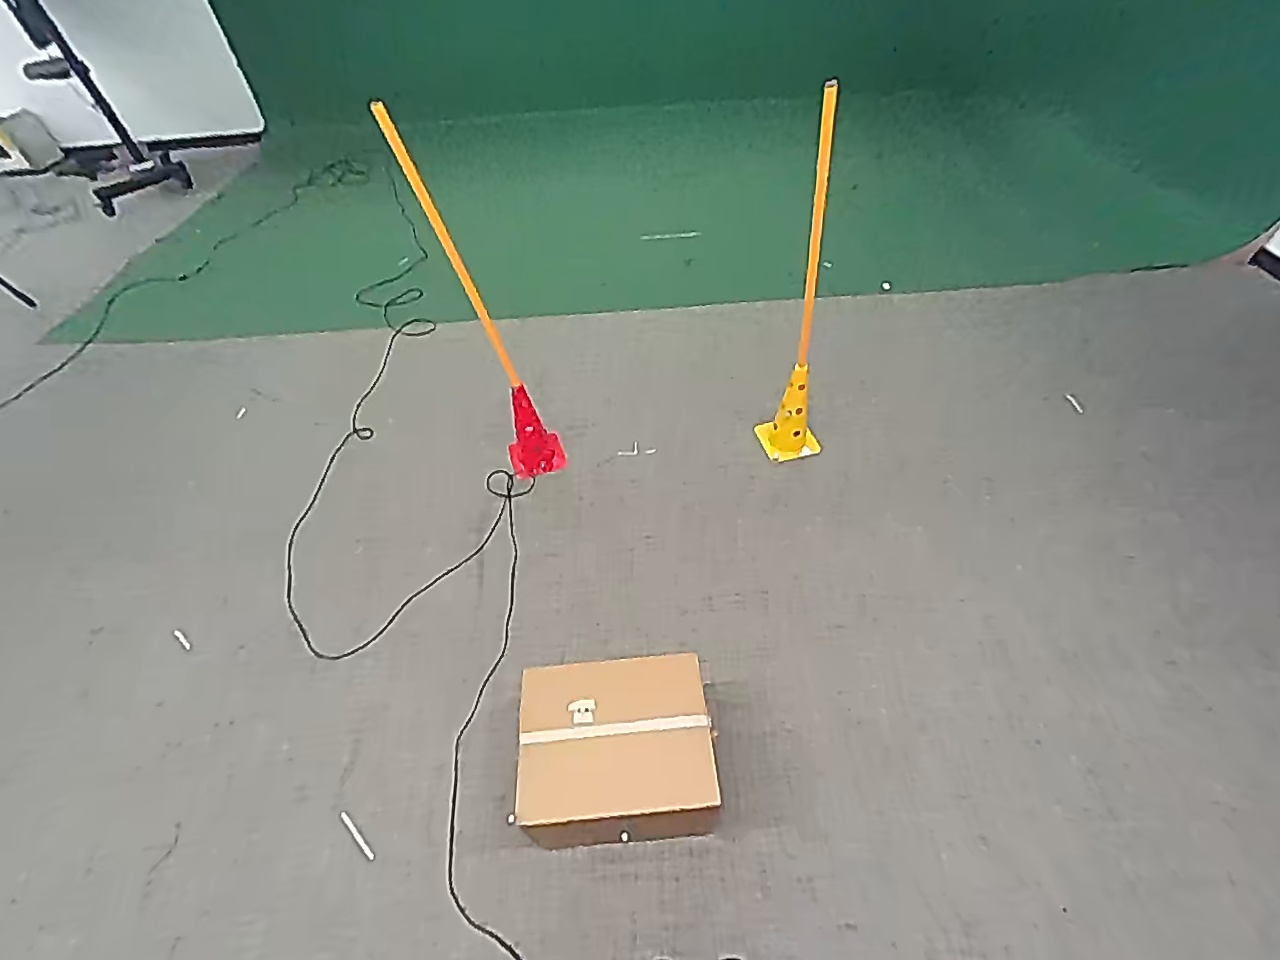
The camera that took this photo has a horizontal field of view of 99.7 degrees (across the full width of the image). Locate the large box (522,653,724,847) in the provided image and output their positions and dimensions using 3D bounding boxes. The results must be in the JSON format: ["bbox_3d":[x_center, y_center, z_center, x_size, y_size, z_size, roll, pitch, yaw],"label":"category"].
[{"bbox_3d":[-0.036,0.633,1.259,0.408,0.320,0.320,-6,48,0],"label":"large box"}]
